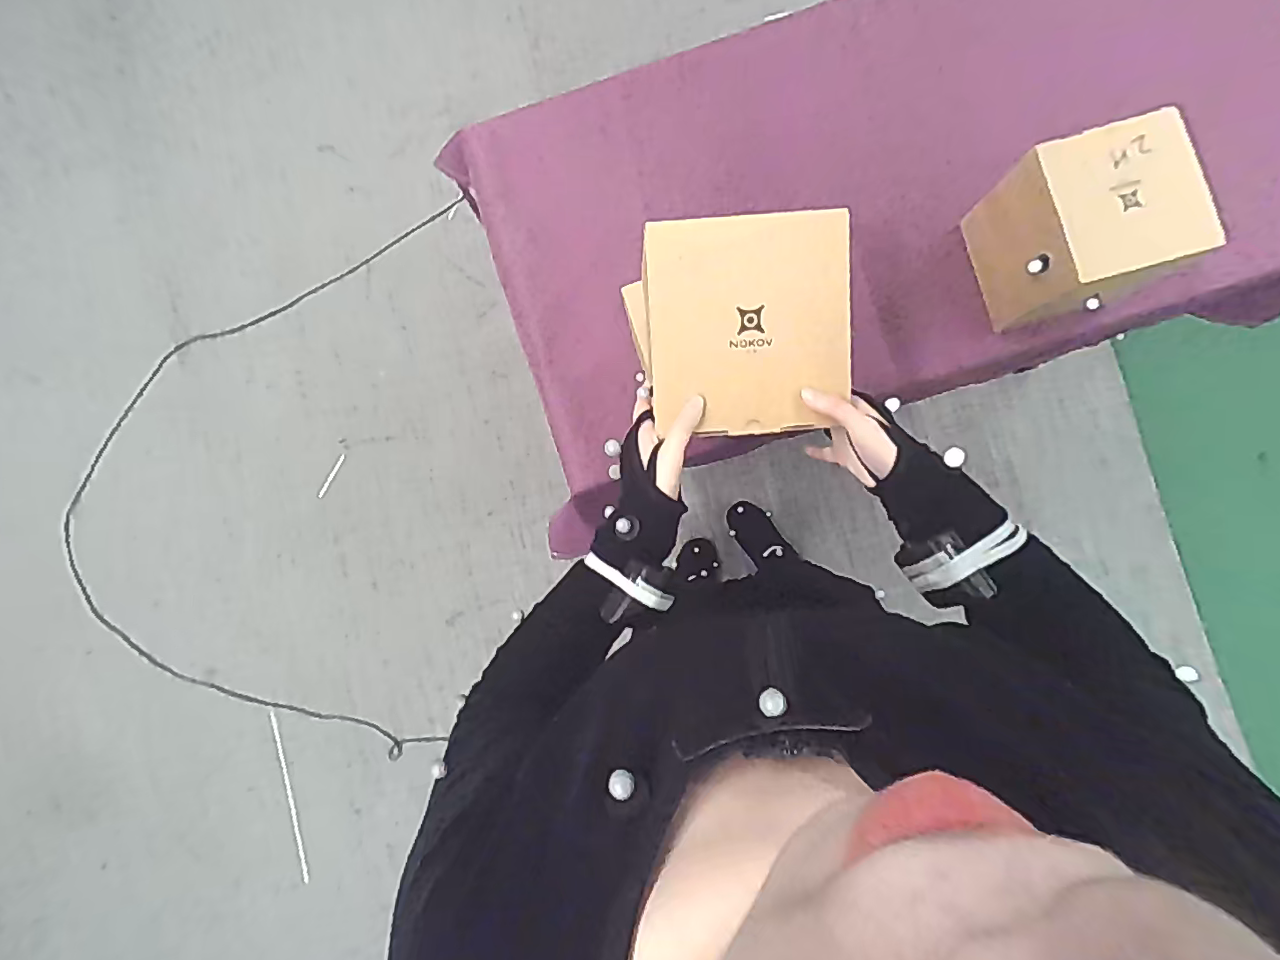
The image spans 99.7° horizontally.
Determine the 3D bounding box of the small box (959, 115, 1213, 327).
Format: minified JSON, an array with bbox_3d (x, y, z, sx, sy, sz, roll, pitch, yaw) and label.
[{"bbox_3d":[0.557,-0.316,0.703,0.168,0.176,0.179,-15,85,2],"label":"small box"}]
